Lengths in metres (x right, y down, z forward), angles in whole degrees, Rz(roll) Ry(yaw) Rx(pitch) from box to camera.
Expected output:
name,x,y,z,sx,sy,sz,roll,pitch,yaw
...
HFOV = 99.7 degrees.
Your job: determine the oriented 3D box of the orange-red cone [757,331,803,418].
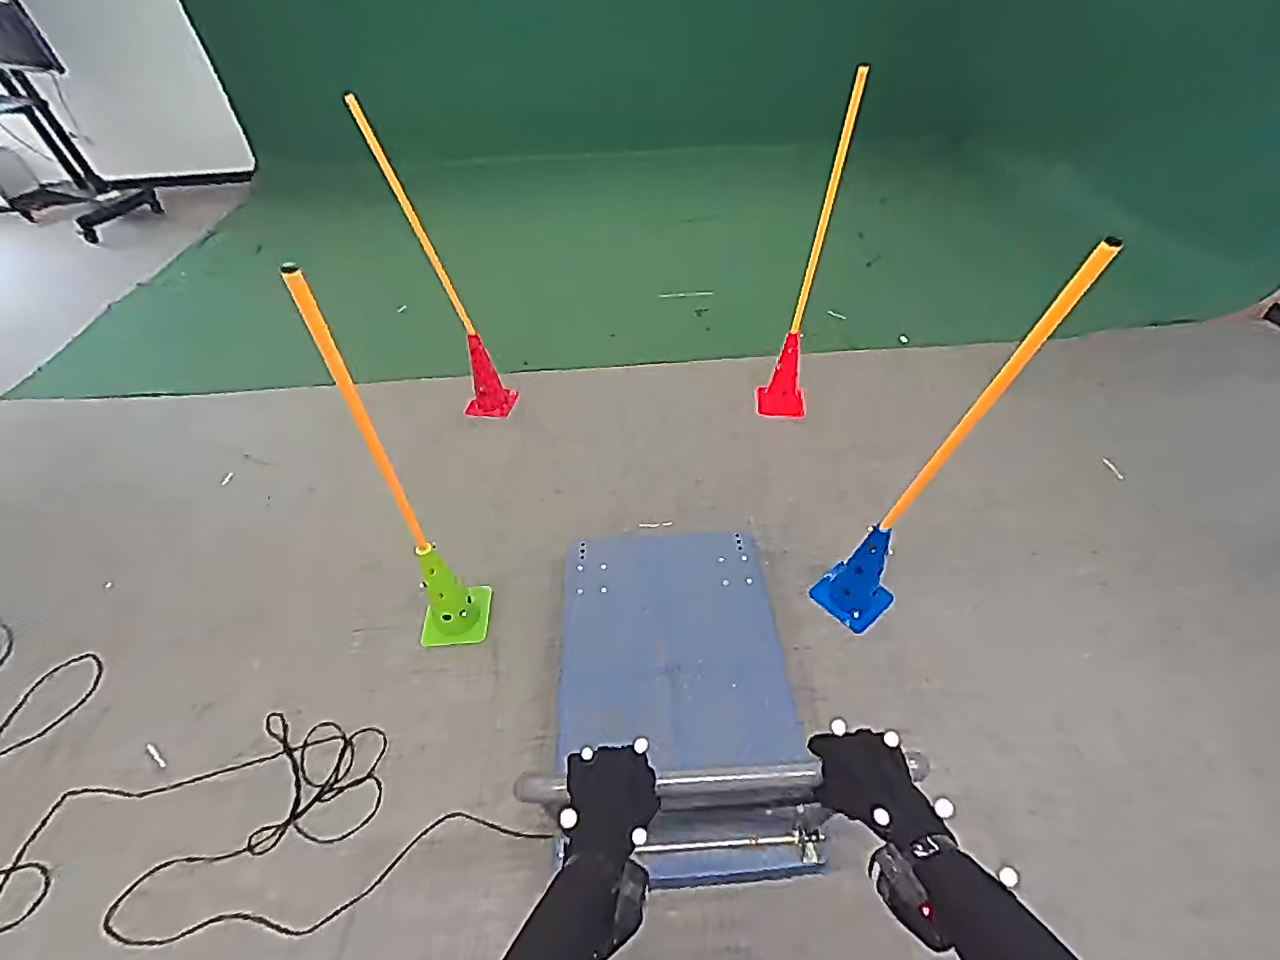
name,x,y,z,sx,sy,sz,roll,pitch,yaw
orange-red cone,0.611,-0.458,2.268,0.198,0.360,0.199,4,47,7
